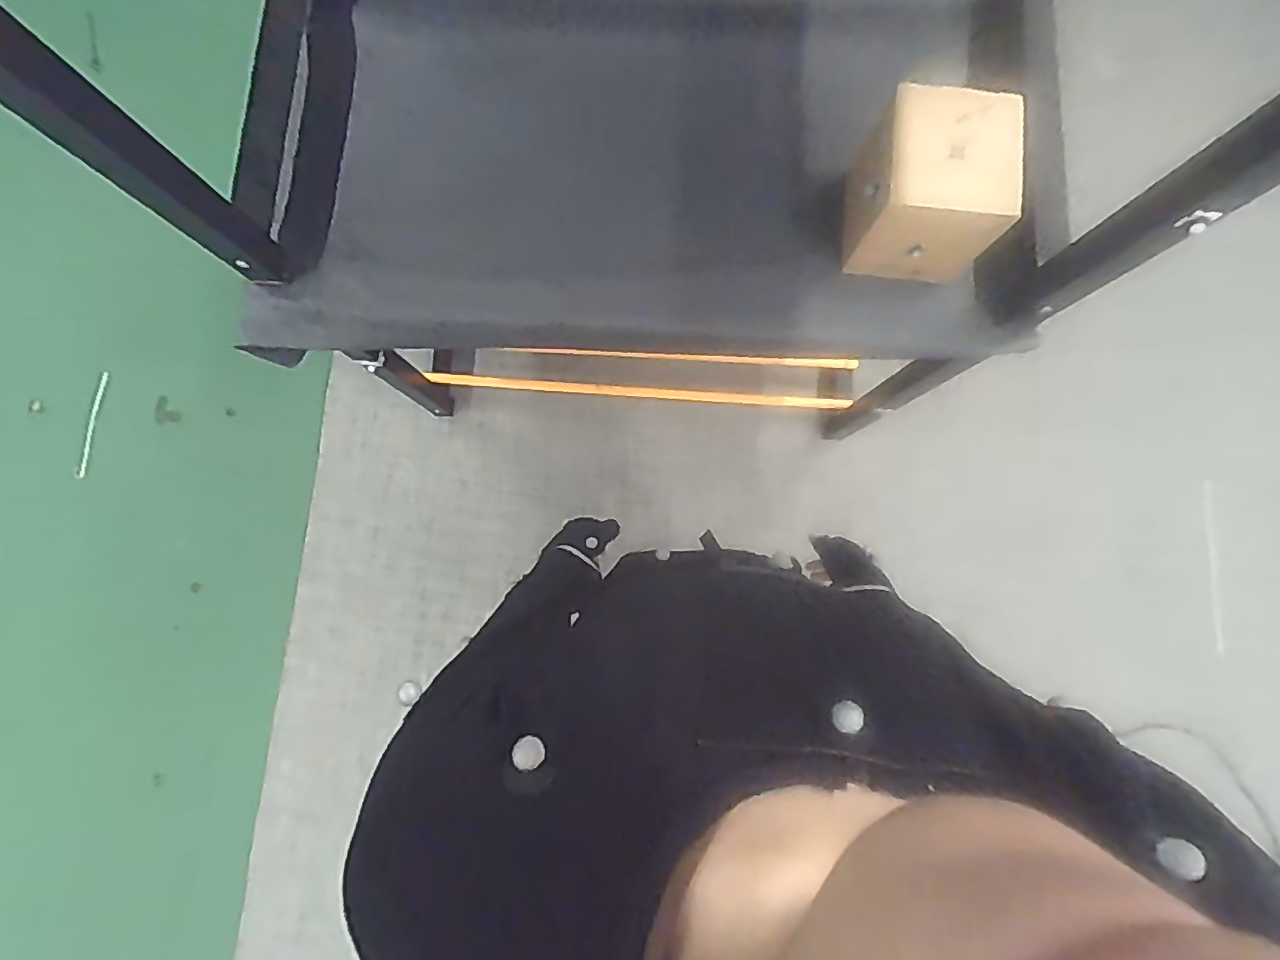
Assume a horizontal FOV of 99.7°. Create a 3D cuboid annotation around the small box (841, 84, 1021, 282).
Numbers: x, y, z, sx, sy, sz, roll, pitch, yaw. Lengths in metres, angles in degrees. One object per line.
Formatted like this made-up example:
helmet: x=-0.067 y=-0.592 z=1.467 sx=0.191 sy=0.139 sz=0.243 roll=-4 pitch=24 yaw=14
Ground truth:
small box: x=0.397 y=-0.404 z=0.762 sx=0.168 sy=0.176 sz=0.179 roll=7 pitch=81 yaw=1
